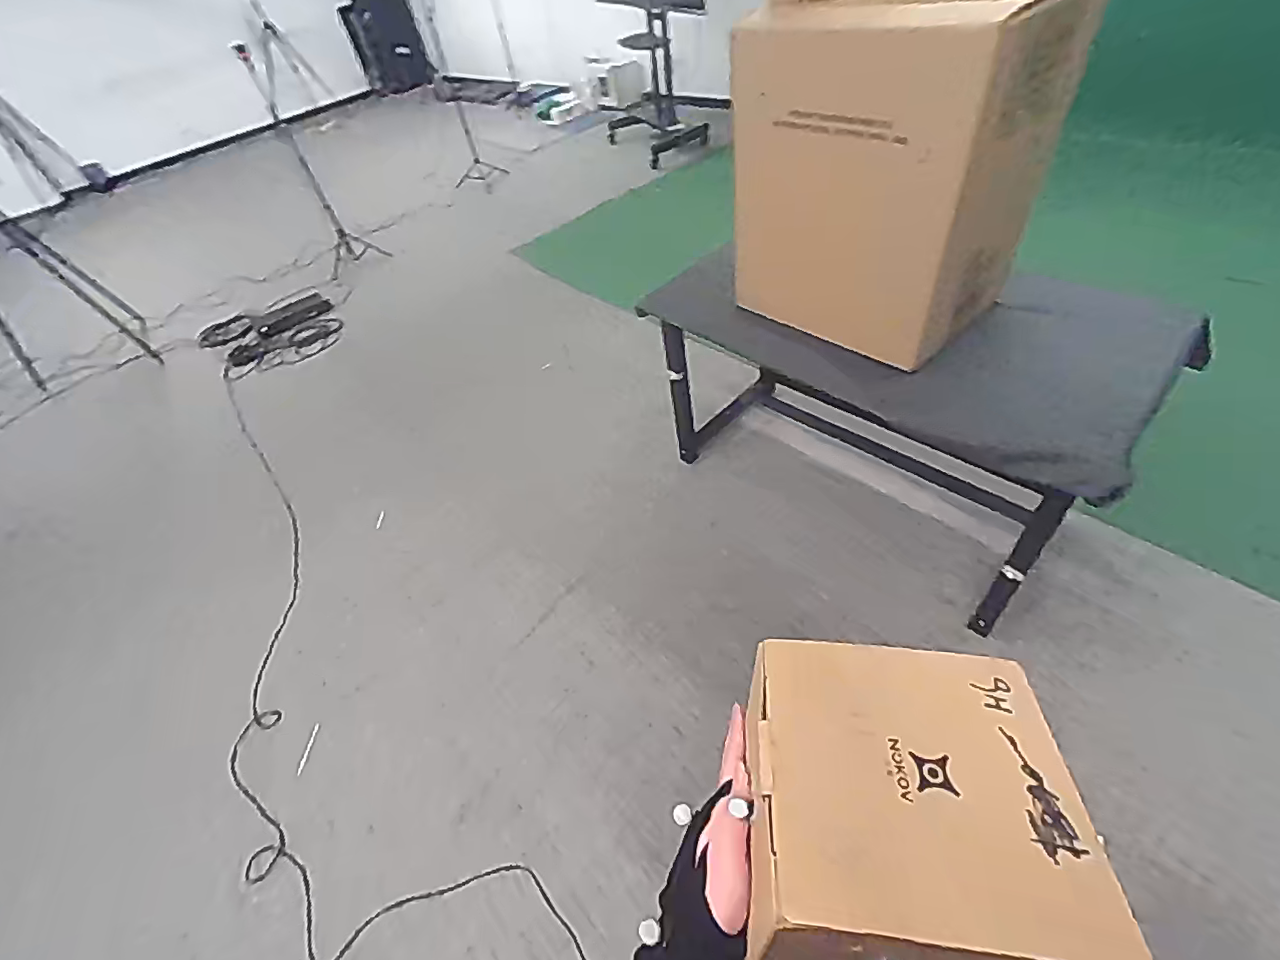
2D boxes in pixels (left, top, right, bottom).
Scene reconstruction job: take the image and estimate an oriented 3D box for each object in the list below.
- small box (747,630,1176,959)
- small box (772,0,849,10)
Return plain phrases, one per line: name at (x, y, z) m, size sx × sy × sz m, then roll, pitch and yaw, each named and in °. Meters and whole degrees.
small box at (0.165, 0.222, 0.358) m, size 0.179 × 0.176 × 0.168 m, roll 3°, pitch 39°, yaw 6°
small box at (0.364, -1.042, 1.051) m, size 0.179 × 0.176 × 0.168 m, roll -41°, pitch 53°, yaw -21°
